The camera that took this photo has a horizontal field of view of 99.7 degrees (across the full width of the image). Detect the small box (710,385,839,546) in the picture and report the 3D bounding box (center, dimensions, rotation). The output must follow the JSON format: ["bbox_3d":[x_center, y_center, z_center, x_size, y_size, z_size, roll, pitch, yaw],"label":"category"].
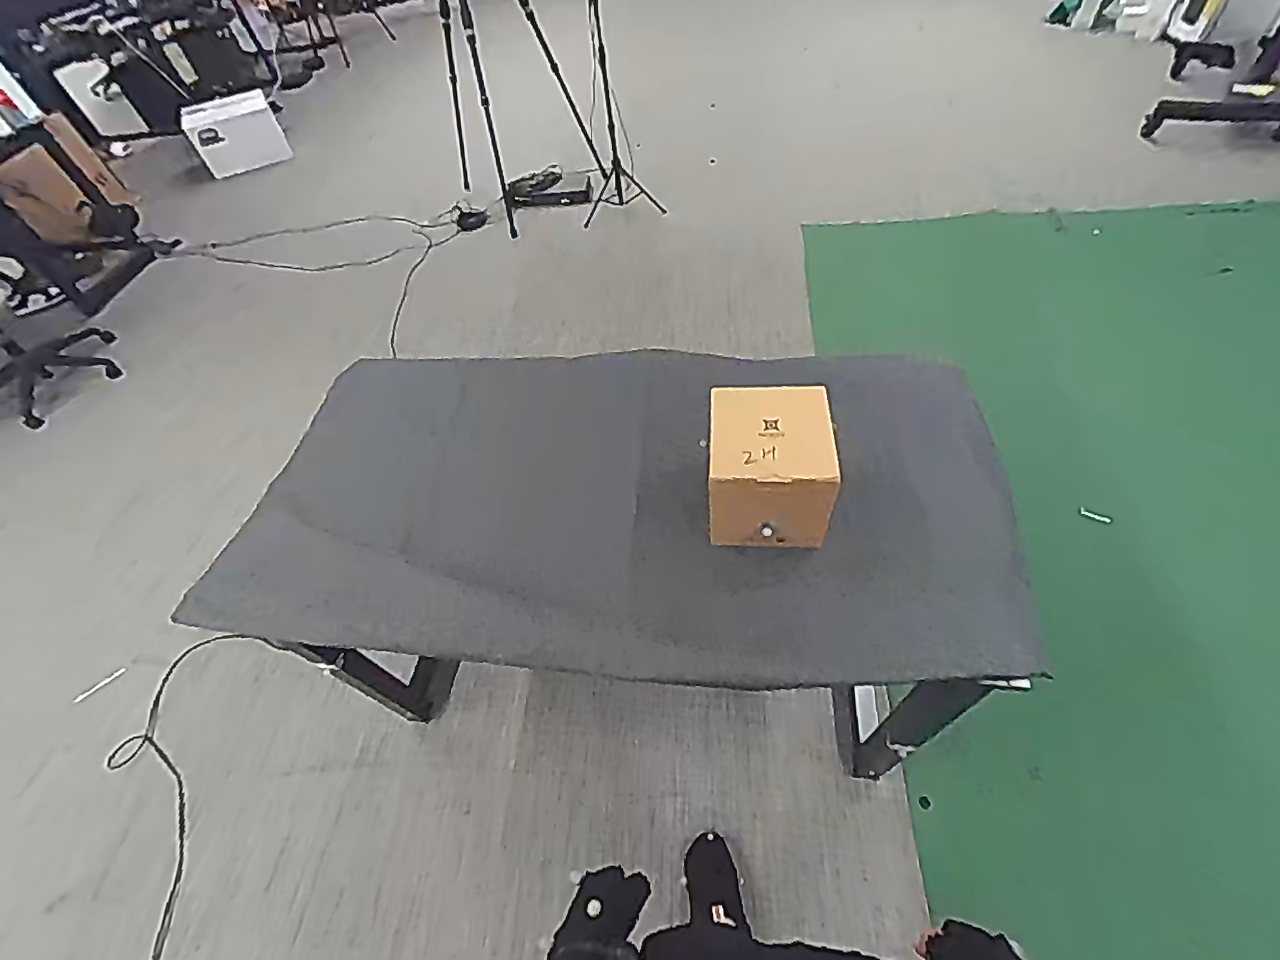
[{"bbox_3d":[0.190,-0.022,0.808,0.168,0.176,0.179,0,52,9],"label":"small box"}]
